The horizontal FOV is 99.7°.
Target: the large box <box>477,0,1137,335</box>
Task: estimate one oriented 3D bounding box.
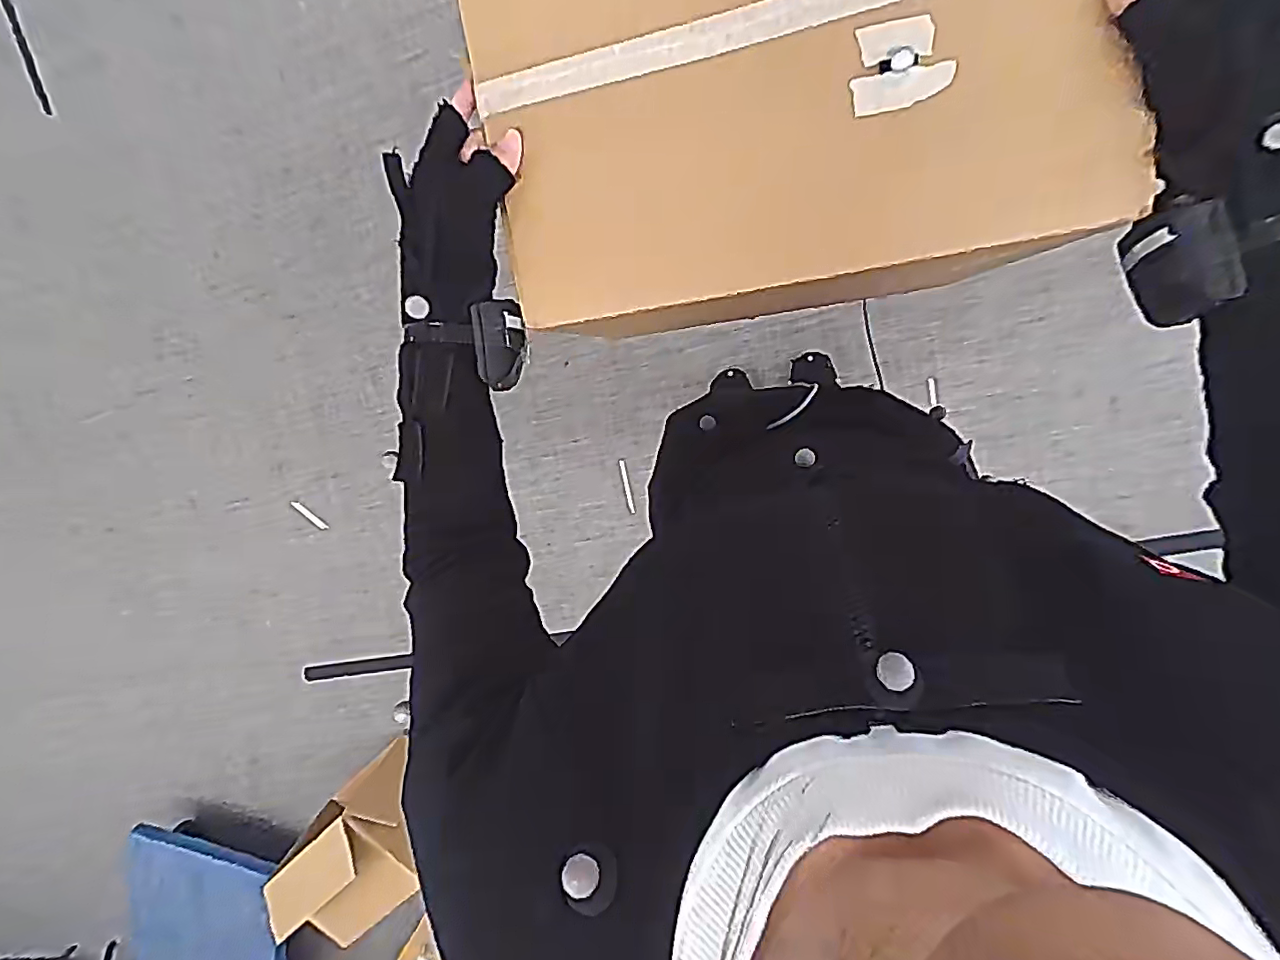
[{"bbox_3d":[0.114,-0.327,0.490,0.408,0.320,0.320,-7,102,11],"label":"large box"}]
